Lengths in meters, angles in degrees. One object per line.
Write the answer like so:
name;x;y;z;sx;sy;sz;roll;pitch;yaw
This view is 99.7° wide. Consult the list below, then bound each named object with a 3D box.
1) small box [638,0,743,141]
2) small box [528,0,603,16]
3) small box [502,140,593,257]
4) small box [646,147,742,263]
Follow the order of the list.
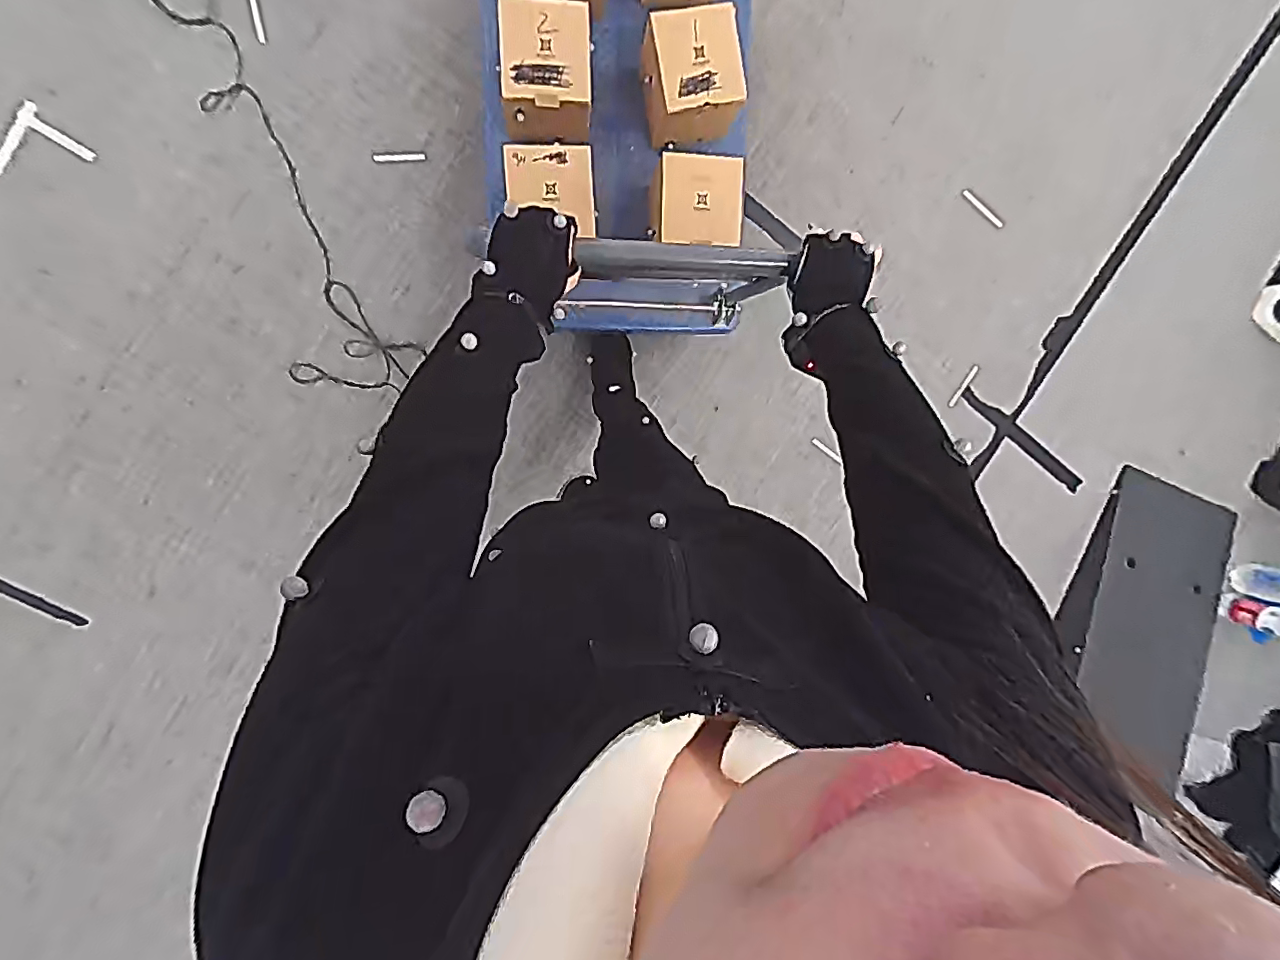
small box;0.098;-0.829;1.114;0.168;0.176;0.179;-13;99;-7
small box;-0.146;-1.058;1.042;0.168;0.176;0.179;1;99;-9
small box;-0.186;-0.565;1.109;0.168;0.176;0.179;-4;99;-9
small box;0.109;-0.574;1.155;0.168;0.176;0.179;0;98;-9
